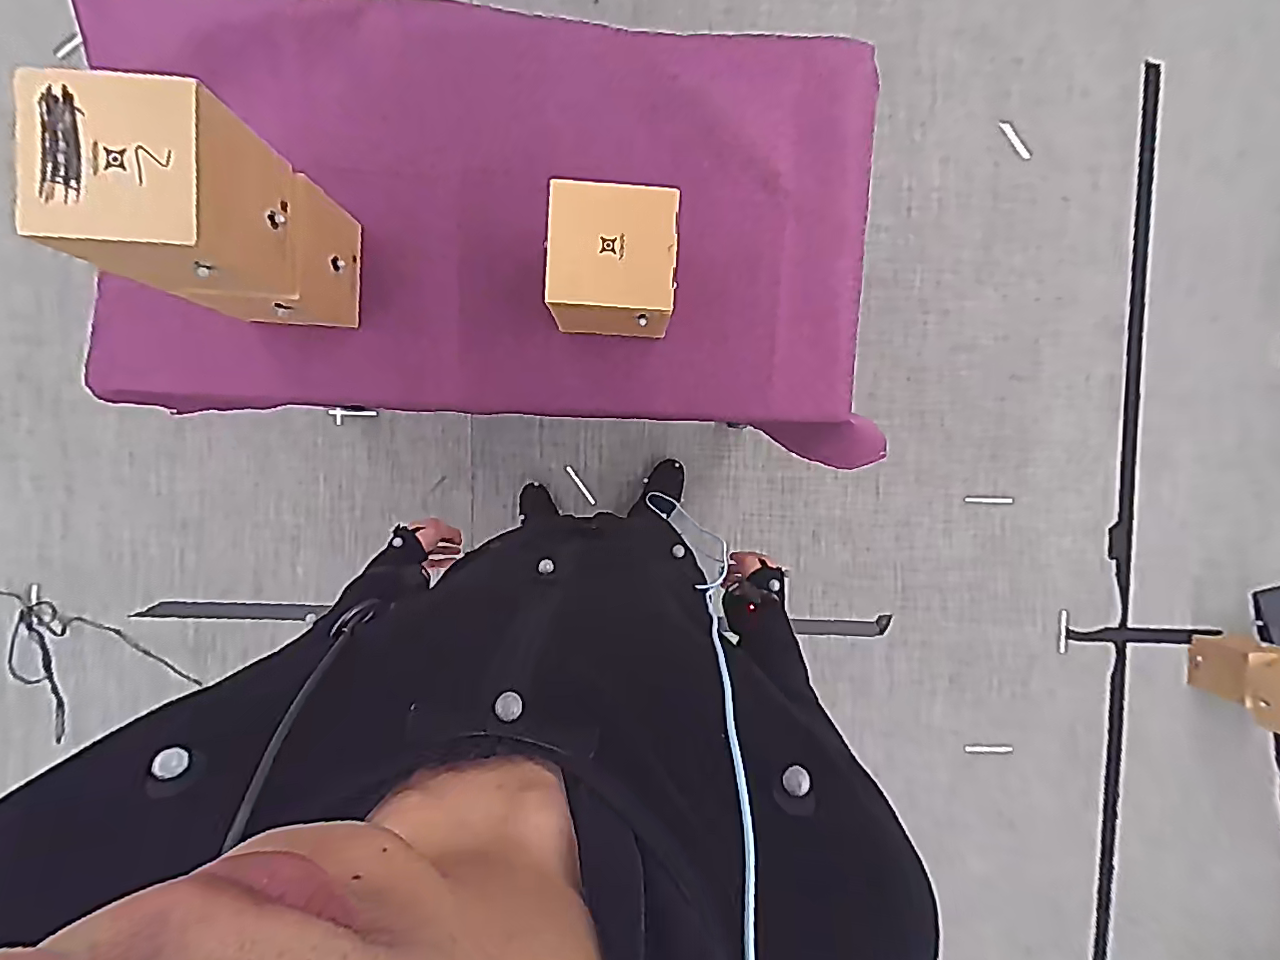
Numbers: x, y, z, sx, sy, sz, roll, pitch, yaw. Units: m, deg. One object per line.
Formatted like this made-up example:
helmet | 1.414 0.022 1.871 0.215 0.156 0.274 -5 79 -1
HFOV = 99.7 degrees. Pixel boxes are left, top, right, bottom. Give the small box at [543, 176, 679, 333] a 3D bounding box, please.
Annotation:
small box | -0.042 -0.321 0.801 0.179 0.176 0.168 3 93 -3

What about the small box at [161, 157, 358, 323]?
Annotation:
small box | -0.530 -0.330 0.777 0.179 0.176 0.168 4 93 -3
